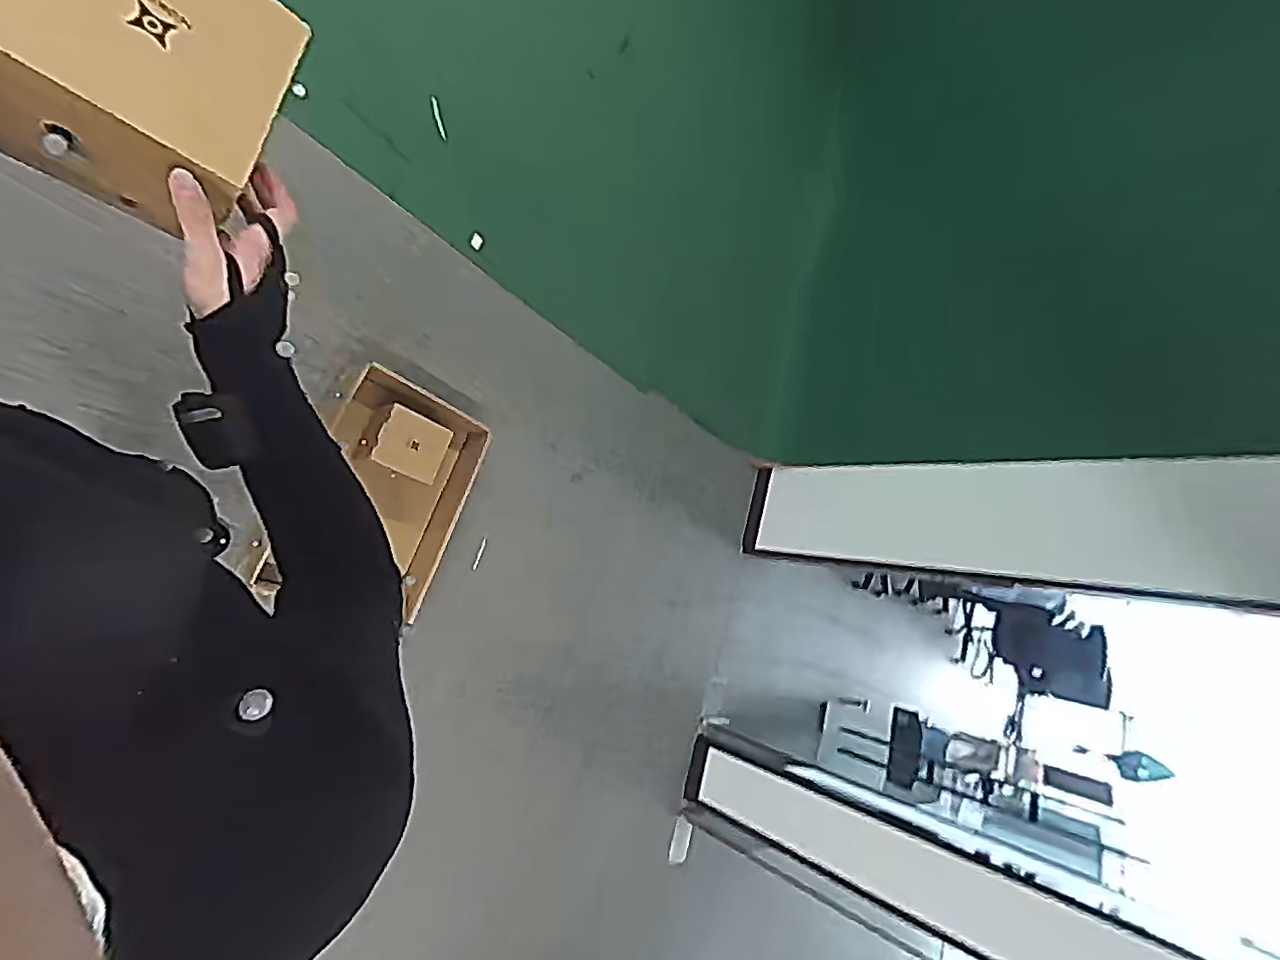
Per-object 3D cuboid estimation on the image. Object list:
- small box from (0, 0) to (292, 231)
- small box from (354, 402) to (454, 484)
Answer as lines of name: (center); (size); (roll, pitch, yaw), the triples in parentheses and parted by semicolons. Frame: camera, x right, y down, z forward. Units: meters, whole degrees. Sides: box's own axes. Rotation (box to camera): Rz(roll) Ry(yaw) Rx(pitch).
small box: (-0.422, -0.341, 0.440); (0.168, 0.176, 0.179); (24, 71, -45)
small box: (-0.659, -0.096, 1.501); (0.179, 0.176, 0.168); (32, 70, -40)
